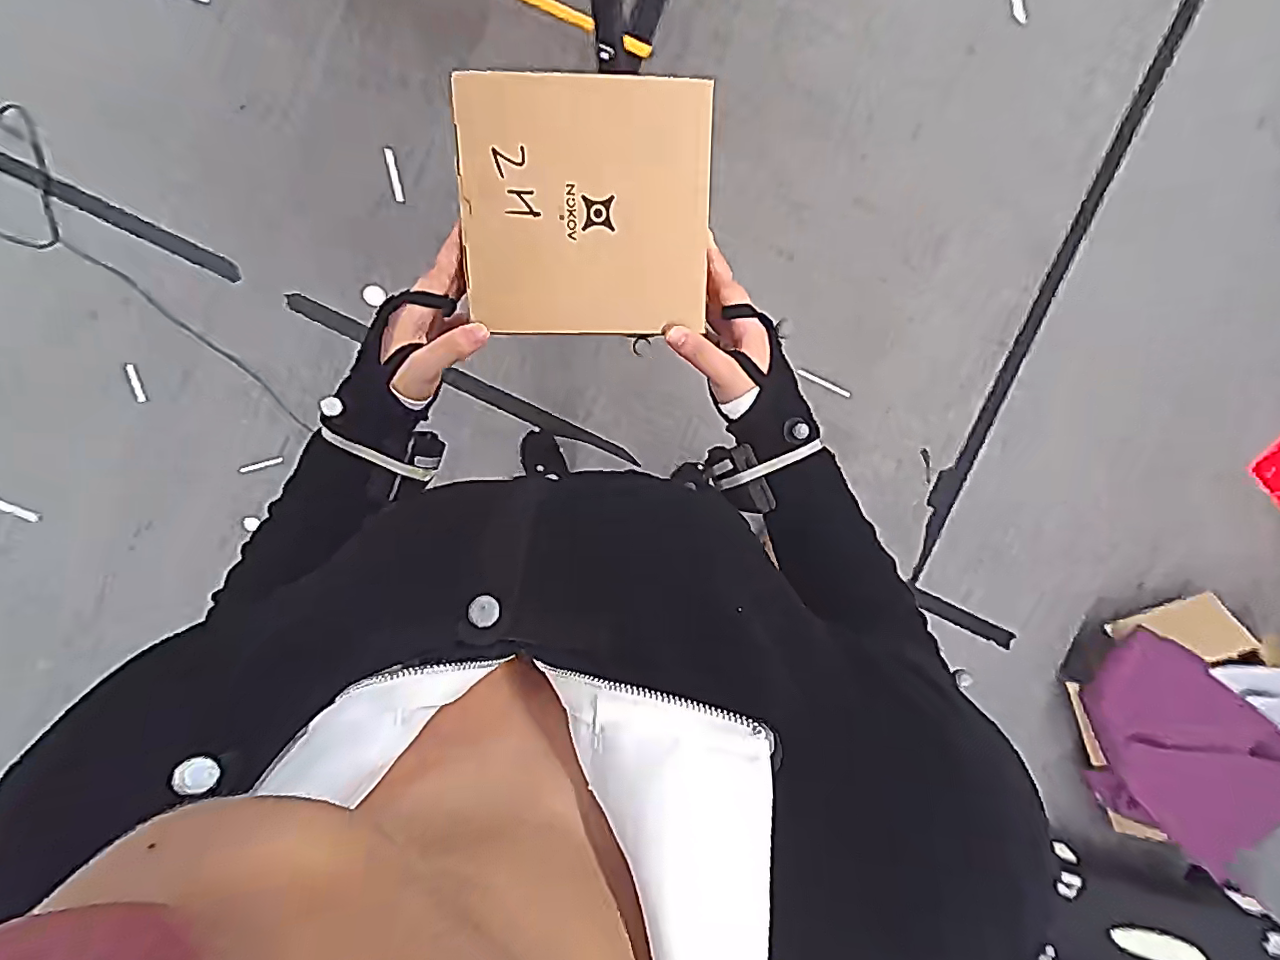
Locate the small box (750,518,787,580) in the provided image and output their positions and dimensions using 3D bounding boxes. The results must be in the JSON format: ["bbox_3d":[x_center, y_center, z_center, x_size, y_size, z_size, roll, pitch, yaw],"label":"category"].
[{"bbox_3d":[0.409,0.210,1.423,0.179,0.176,0.168,26,94,-1],"label":"small box"}]

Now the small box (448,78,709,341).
[{"bbox_3d":[-0.046,-0.205,0.456,0.179,0.176,0.168,-1,105,-3],"label":"small box"}]
